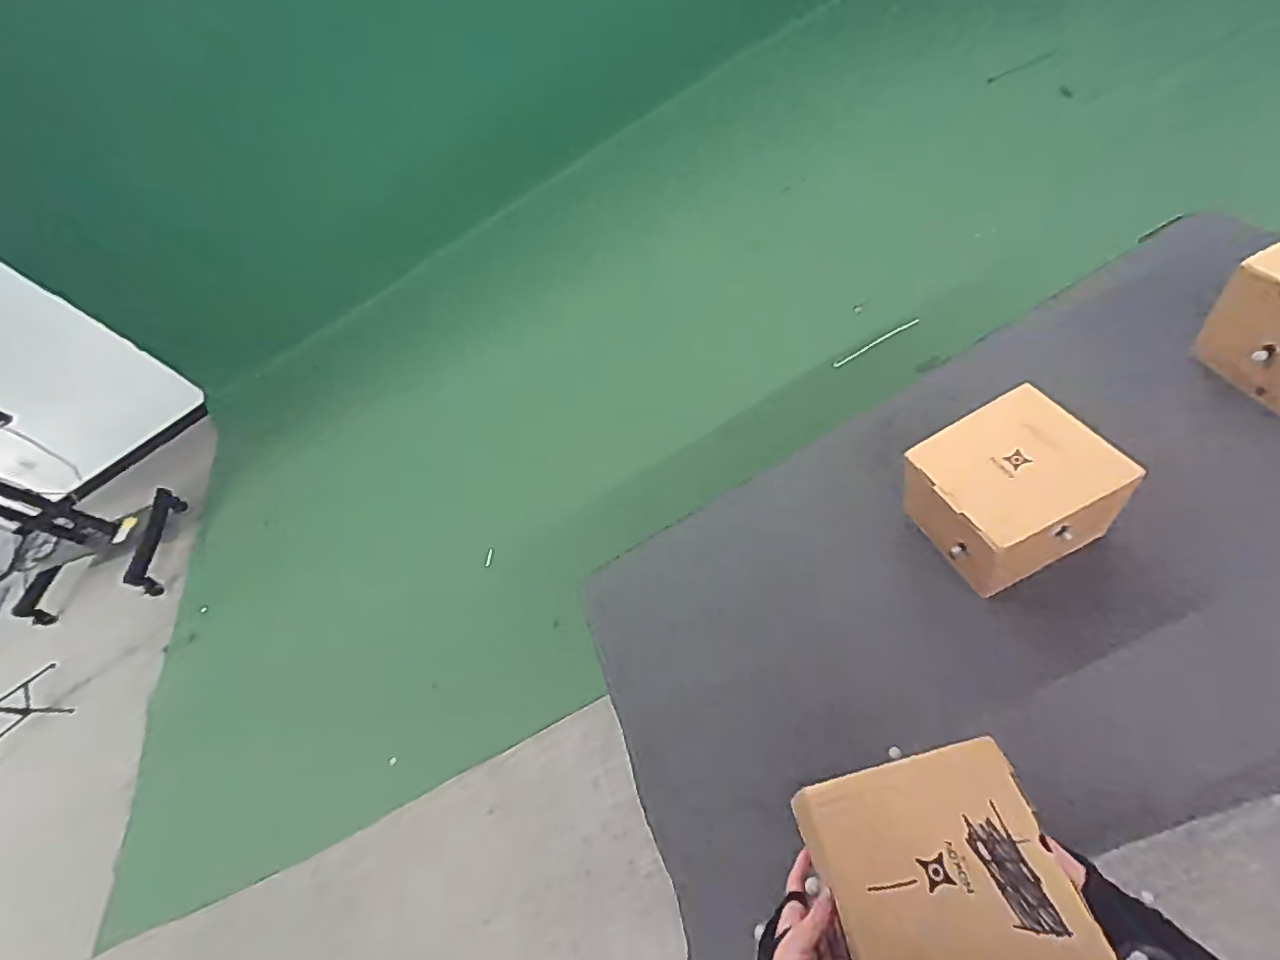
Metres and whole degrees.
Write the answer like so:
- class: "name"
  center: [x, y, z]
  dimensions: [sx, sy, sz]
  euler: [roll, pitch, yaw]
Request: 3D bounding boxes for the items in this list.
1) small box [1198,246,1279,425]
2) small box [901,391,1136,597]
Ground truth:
- class: "small box"
  center: [0.845, -0.192, 0.654]
  dimensions: [0.179, 0.176, 0.168]
  euler: [-26, 52, 10]
- class: "small box"
  center: [0.470, 0.026, 0.705]
  dimensions: [0.179, 0.176, 0.168]
  euler: [-30, 52, 4]
